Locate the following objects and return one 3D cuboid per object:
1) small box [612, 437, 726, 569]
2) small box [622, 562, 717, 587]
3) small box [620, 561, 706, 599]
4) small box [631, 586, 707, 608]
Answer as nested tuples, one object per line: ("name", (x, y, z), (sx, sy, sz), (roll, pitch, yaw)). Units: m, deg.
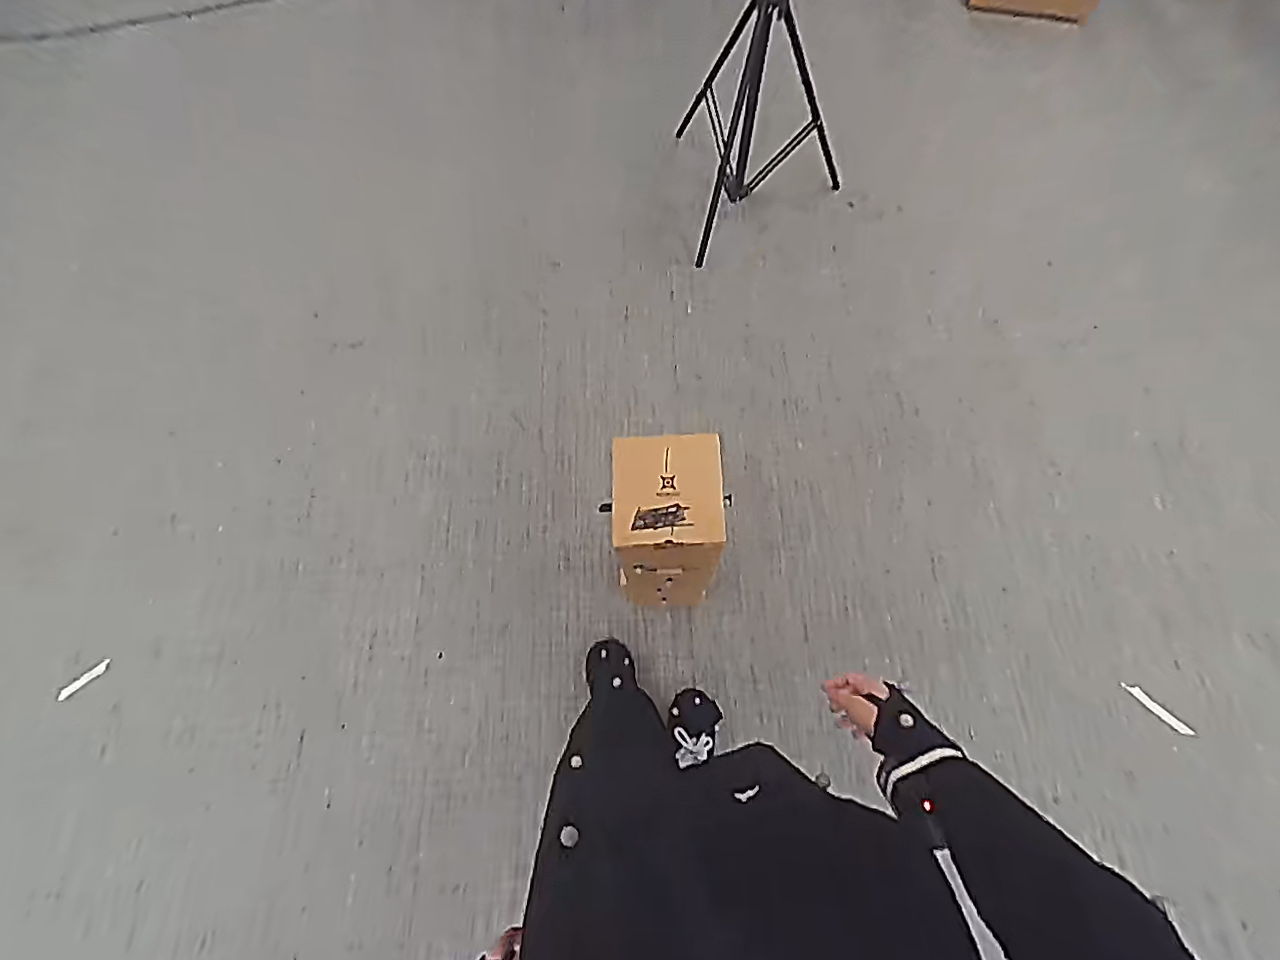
("small box", (0.047, 0.045, 0.871), (0.168, 0.176, 0.179), (-1, 69, 2))
("small box", (0.056, 0.105, 1.024), (0.168, 0.176, 0.179), (0, 70, 2))
("small box", (0.053, 0.166, 1.176), (0.179, 0.176, 0.168), (0, 70, 3))
("small box", (0.066, 0.220, 1.331), (0.179, 0.176, 0.168), (-2, 70, 2))
